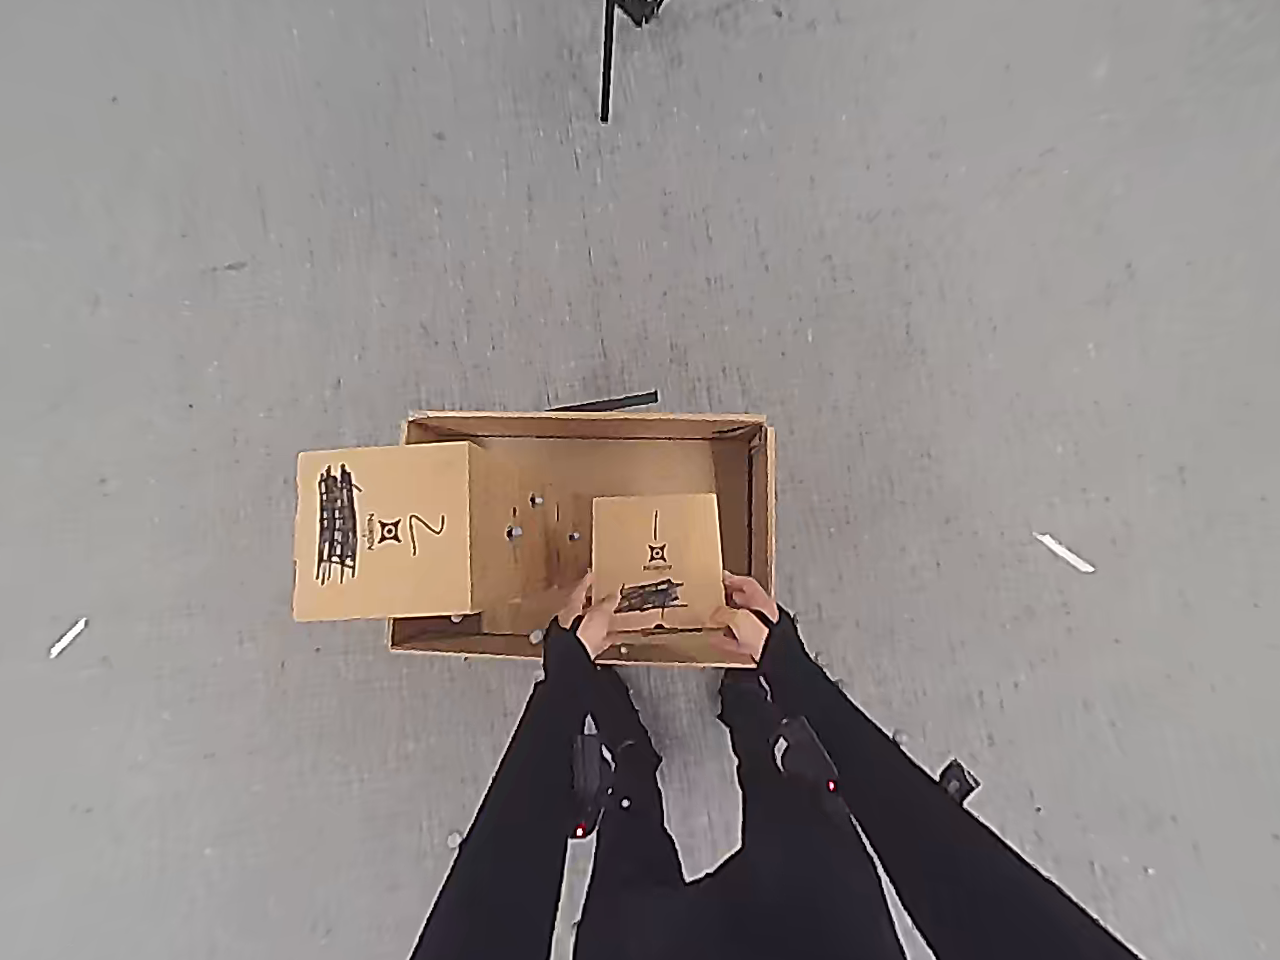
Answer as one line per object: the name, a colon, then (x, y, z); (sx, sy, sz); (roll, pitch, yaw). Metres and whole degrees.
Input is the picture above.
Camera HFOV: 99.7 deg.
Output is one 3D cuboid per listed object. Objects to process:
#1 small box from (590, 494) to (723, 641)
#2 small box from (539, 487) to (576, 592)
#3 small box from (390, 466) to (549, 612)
small box: (0.022, 0.131, 0.755); (0.168, 0.176, 0.179); (-2, 68, 1)
small box: (-0.210, 0.102, 0.917); (0.179, 0.176, 0.168); (-2, 84, 2)
small box: (-0.228, 0.083, 0.755); (0.168, 0.176, 0.179); (-4, 83, 3)
